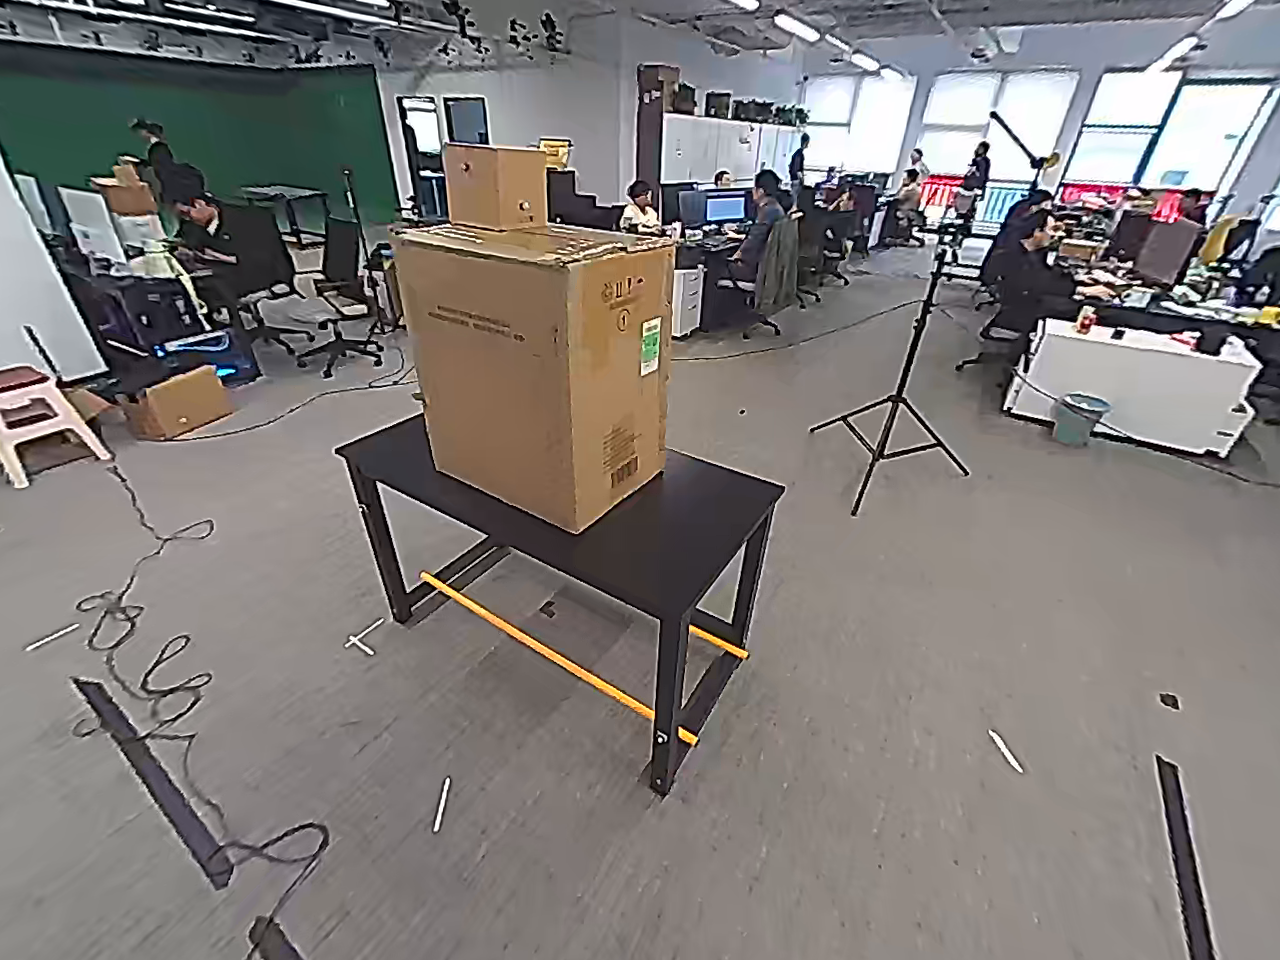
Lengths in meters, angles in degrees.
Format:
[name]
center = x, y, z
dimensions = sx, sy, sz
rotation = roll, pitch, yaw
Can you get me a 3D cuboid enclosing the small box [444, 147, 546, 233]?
[small box]
center = -0.344, -0.696, 1.303
dimensions = 0.179, 0.176, 0.168
rotation = 22, 35, 26
